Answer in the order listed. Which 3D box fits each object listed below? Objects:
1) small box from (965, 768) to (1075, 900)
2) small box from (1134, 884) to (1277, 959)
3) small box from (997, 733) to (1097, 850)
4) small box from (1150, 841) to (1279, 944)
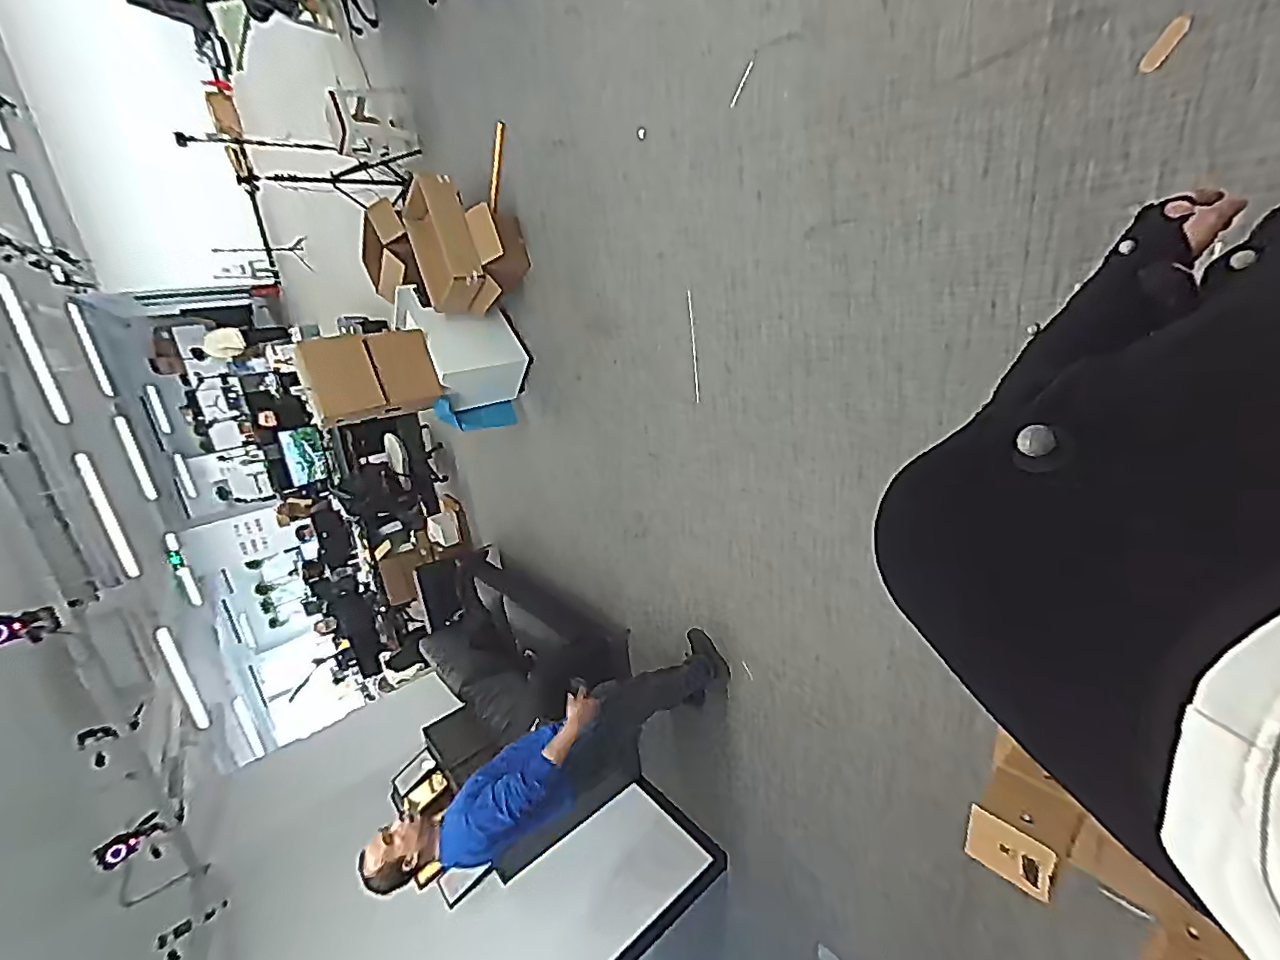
[{"bbox_3d":[0.933,0.852,1.325,0.179,0.176,0.168,17,118,48],"label":"small box"},{"bbox_3d":[1.290,1.077,1.236,0.179,0.176,0.168,26,127,44],"label":"small box"},{"bbox_3d":[1.059,0.802,1.419,0.179,0.176,0.168,16,118,47],"label":"small box"},{"bbox_3d":[1.419,1.037,1.332,0.179,0.176,0.168,27,127,44],"label":"small box"}]
